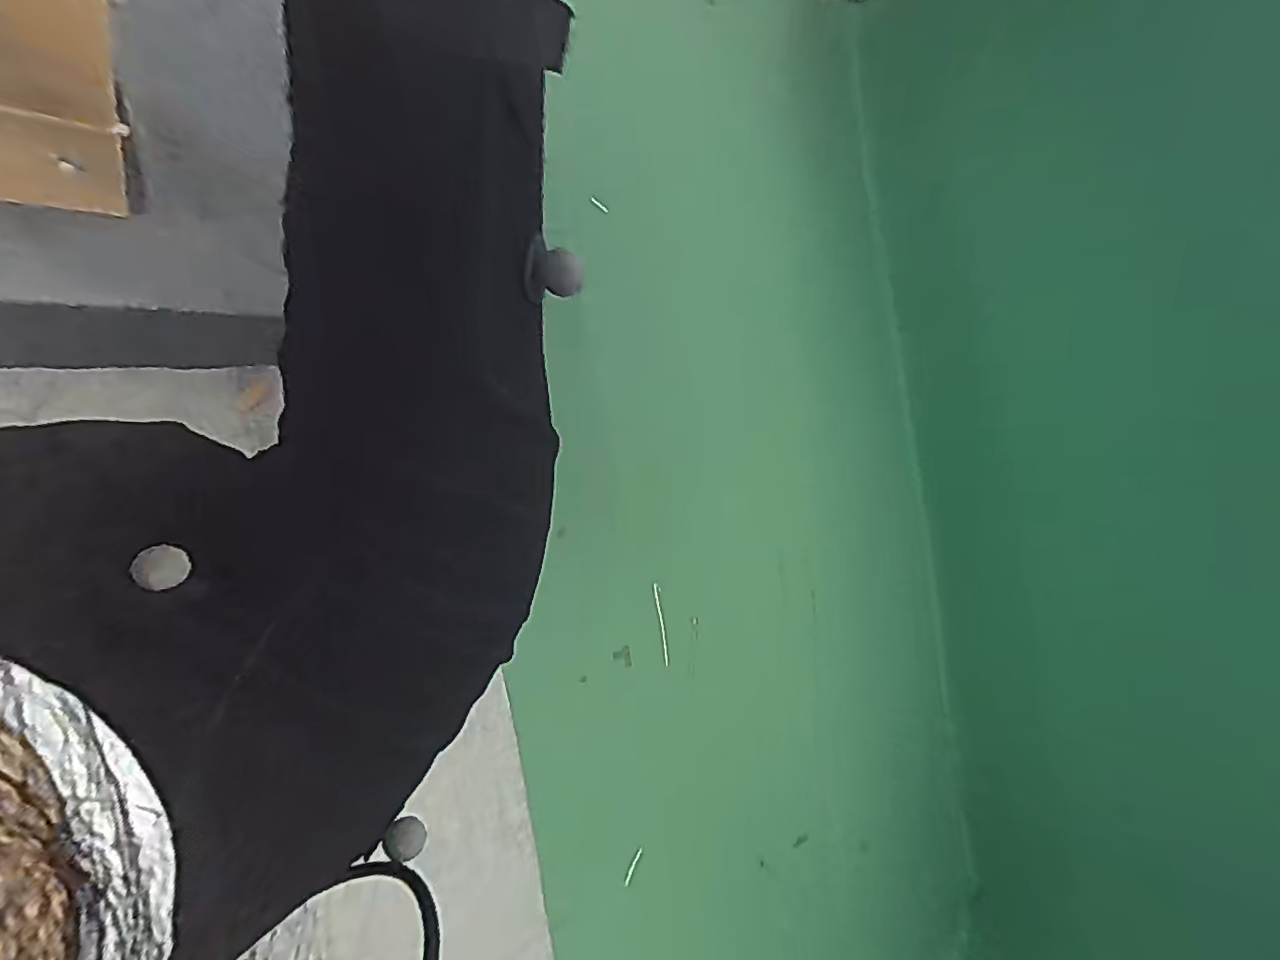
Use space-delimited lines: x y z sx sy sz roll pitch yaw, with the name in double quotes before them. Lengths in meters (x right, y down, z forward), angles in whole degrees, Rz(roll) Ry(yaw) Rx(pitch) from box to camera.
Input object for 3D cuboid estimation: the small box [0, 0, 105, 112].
"small box" -0.507 -0.400 0.376 0.179 0.176 0.168 -13 93 -42
